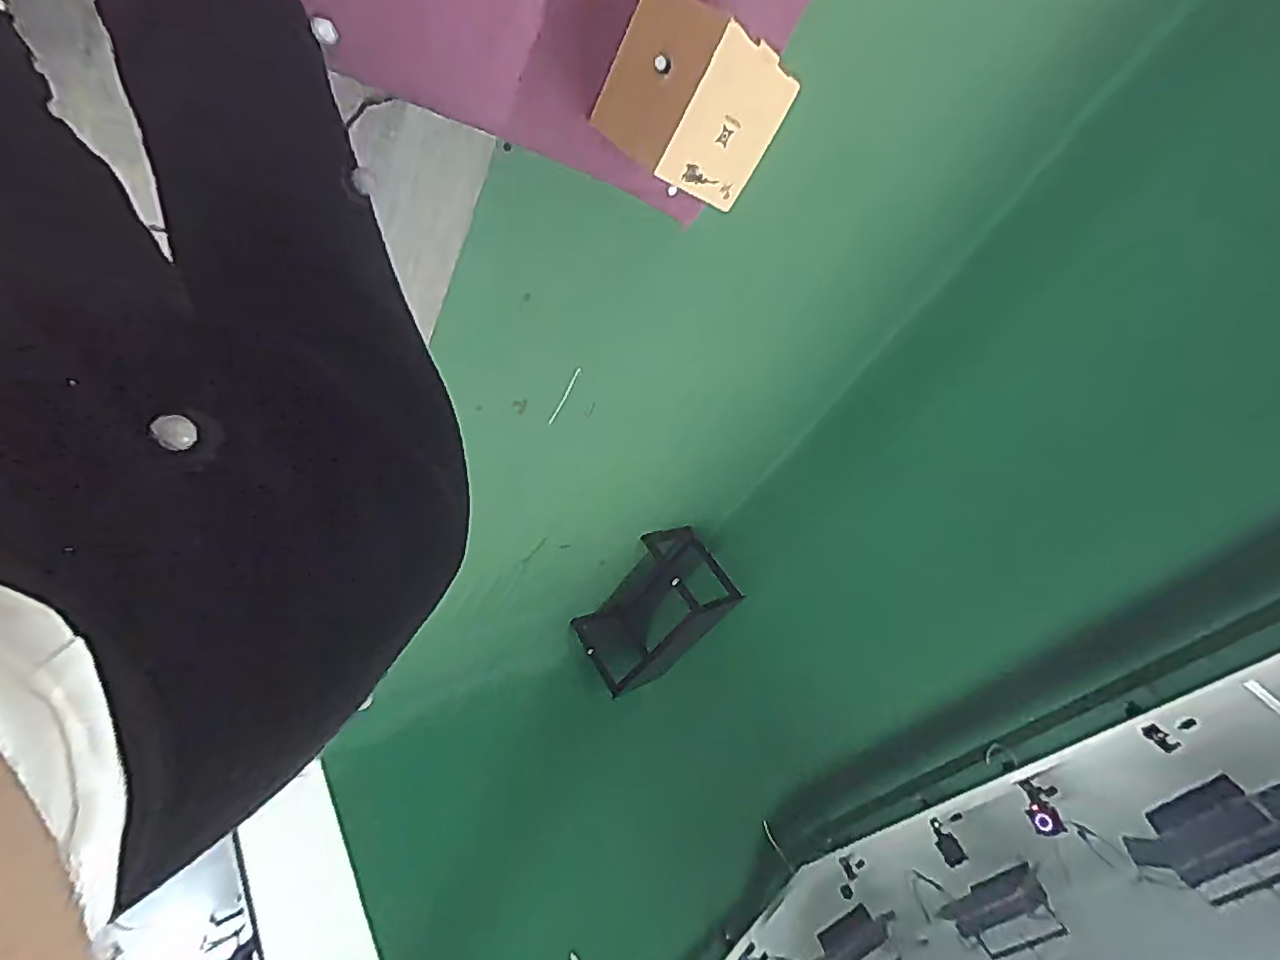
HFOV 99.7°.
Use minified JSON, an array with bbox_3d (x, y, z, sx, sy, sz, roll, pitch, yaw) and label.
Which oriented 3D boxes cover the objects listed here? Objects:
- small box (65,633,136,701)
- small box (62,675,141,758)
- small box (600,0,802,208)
[{"bbox_3d":[-1.861,0.655,1.864,0.168,0.176,0.179,2,134,-47],"label":"small box"},{"bbox_3d":[-1.782,0.776,1.789,0.168,0.176,0.179,5,132,-50],"label":"small box"},{"bbox_3d":[0.073,-0.511,0.727,0.168,0.176,0.179,-4,137,-45],"label":"small box"}]
